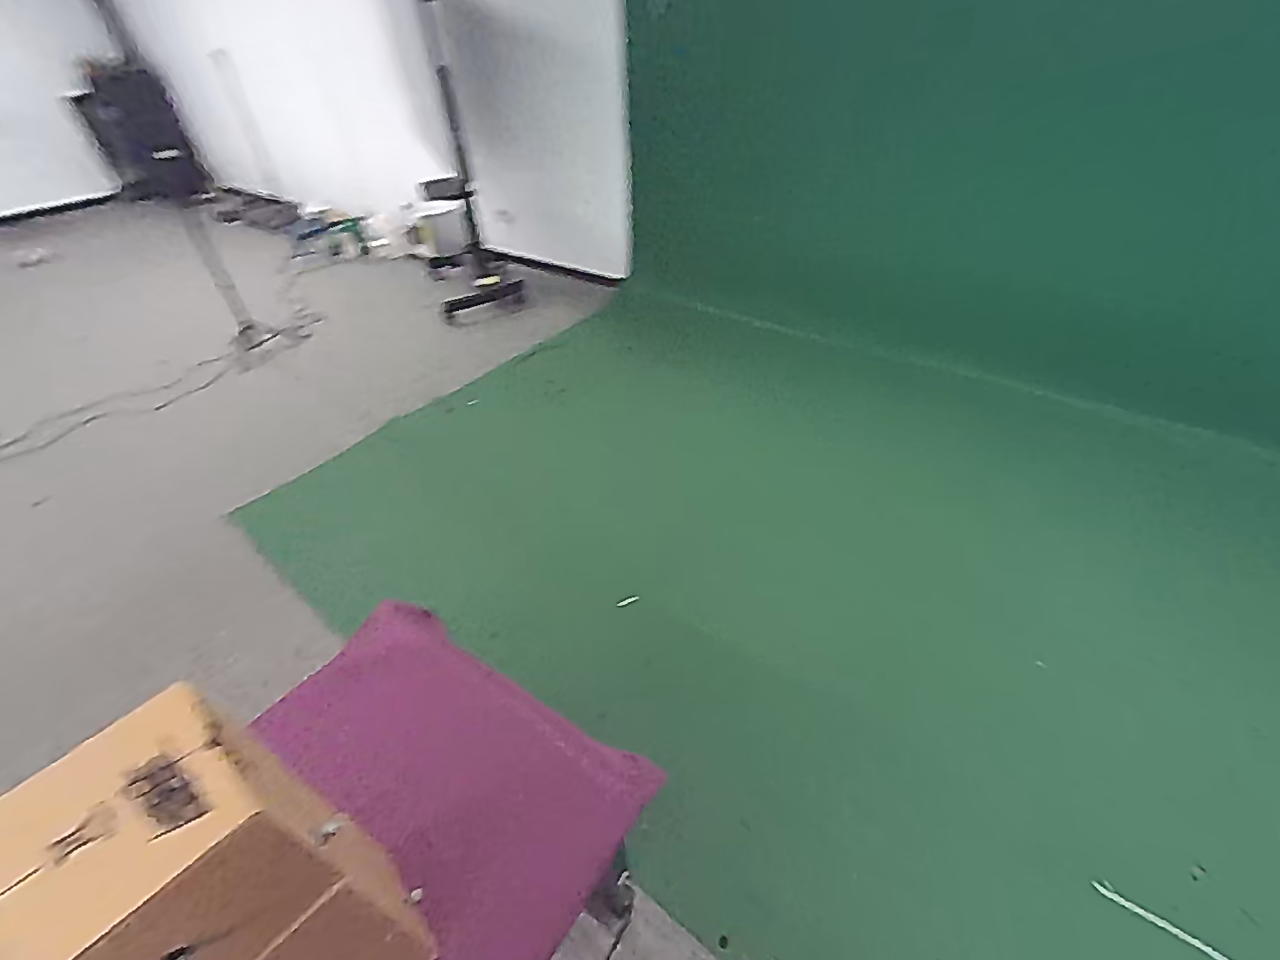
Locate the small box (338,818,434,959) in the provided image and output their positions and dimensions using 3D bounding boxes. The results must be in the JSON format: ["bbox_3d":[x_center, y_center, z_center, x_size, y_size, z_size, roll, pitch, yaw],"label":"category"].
[{"bbox_3d":[-0.381,0.566,0.651,0.168,0.176,0.179,32,51,33],"label":"small box"}]

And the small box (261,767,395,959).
[{"bbox_3d":[-0.386,0.443,0.543,0.168,0.176,0.179,30,51,30],"label":"small box"}]

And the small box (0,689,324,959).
[{"bbox_3d":[-0.391,0.318,0.436,0.168,0.176,0.179,28,50,30],"label":"small box"}]
